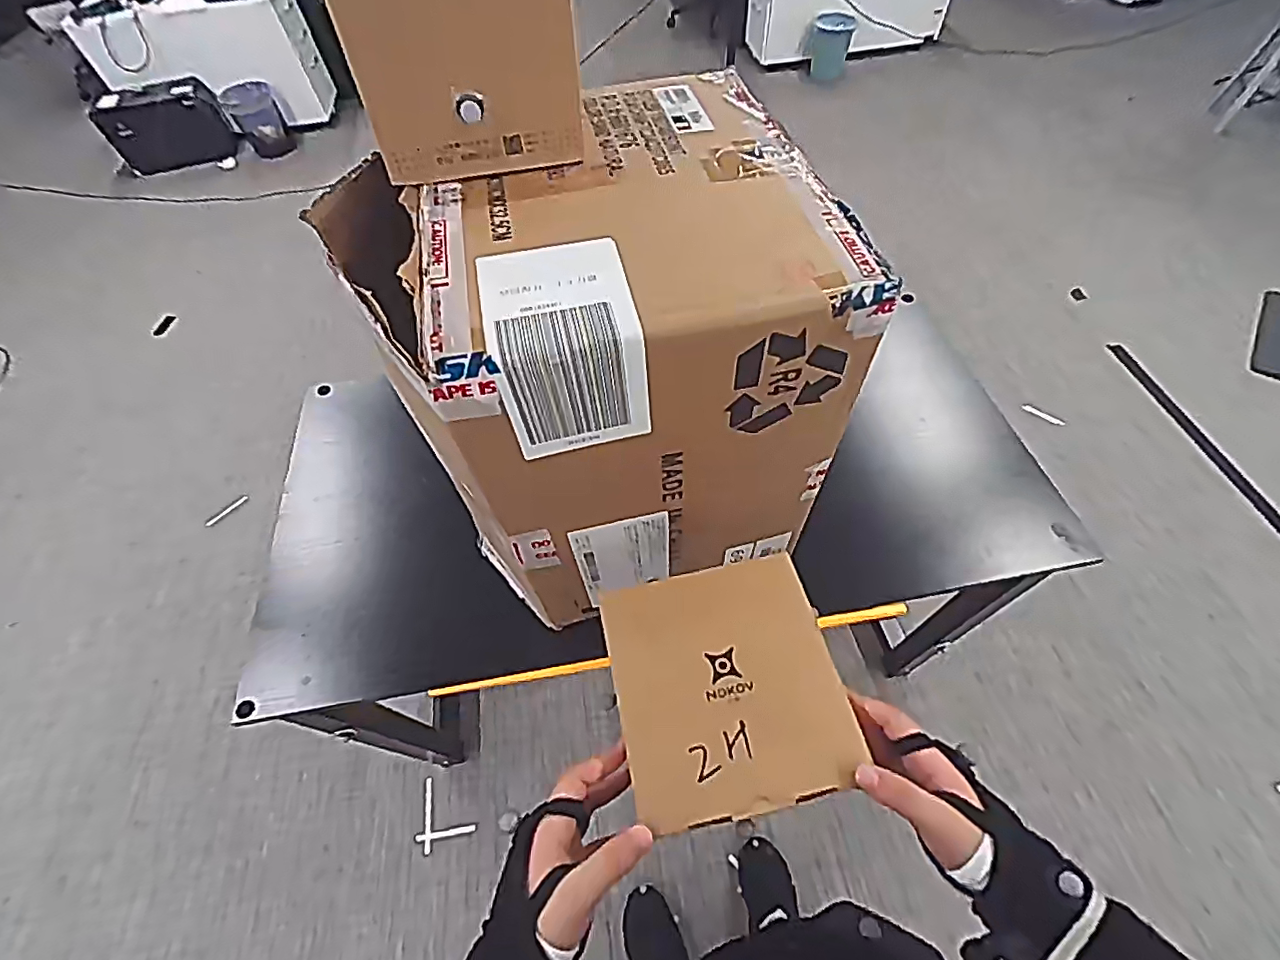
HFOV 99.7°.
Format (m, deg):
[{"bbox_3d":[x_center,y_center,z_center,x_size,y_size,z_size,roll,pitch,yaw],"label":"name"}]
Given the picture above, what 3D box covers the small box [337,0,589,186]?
[{"bbox_3d":[-0.143,-0.370,0.442,0.168,0.176,0.179,-13,55,-8],"label":"small box"}]
